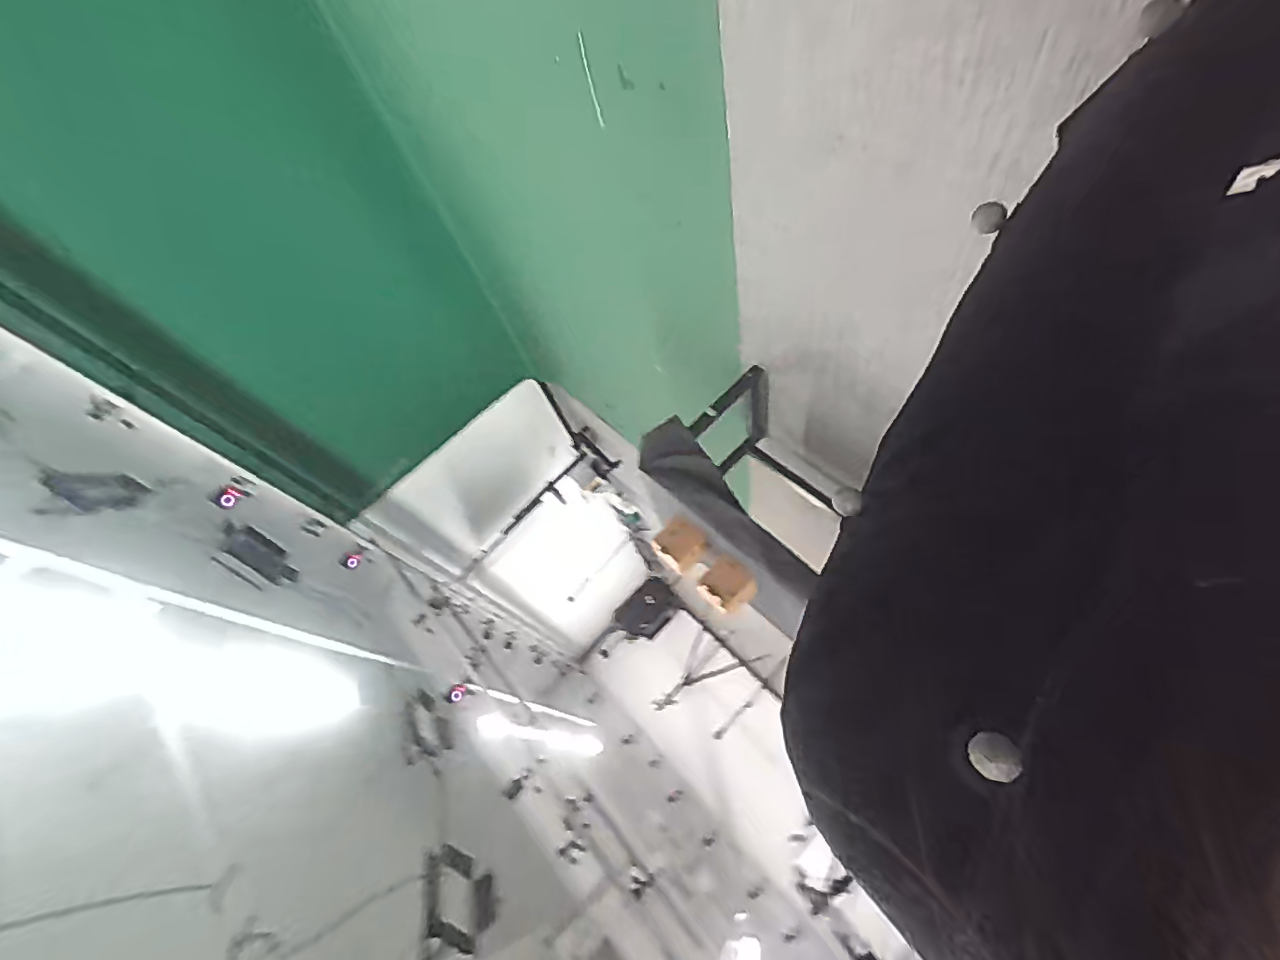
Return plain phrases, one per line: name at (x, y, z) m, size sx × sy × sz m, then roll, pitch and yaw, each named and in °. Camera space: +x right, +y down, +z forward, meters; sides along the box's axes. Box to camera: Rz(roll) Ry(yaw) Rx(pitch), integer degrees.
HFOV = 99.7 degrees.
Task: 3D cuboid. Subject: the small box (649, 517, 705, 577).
small box at (0.167, 0.290, 2.368) m, size 0.168 × 0.176 × 0.179 m, roll 42°, pitch 168°, yaw 30°
